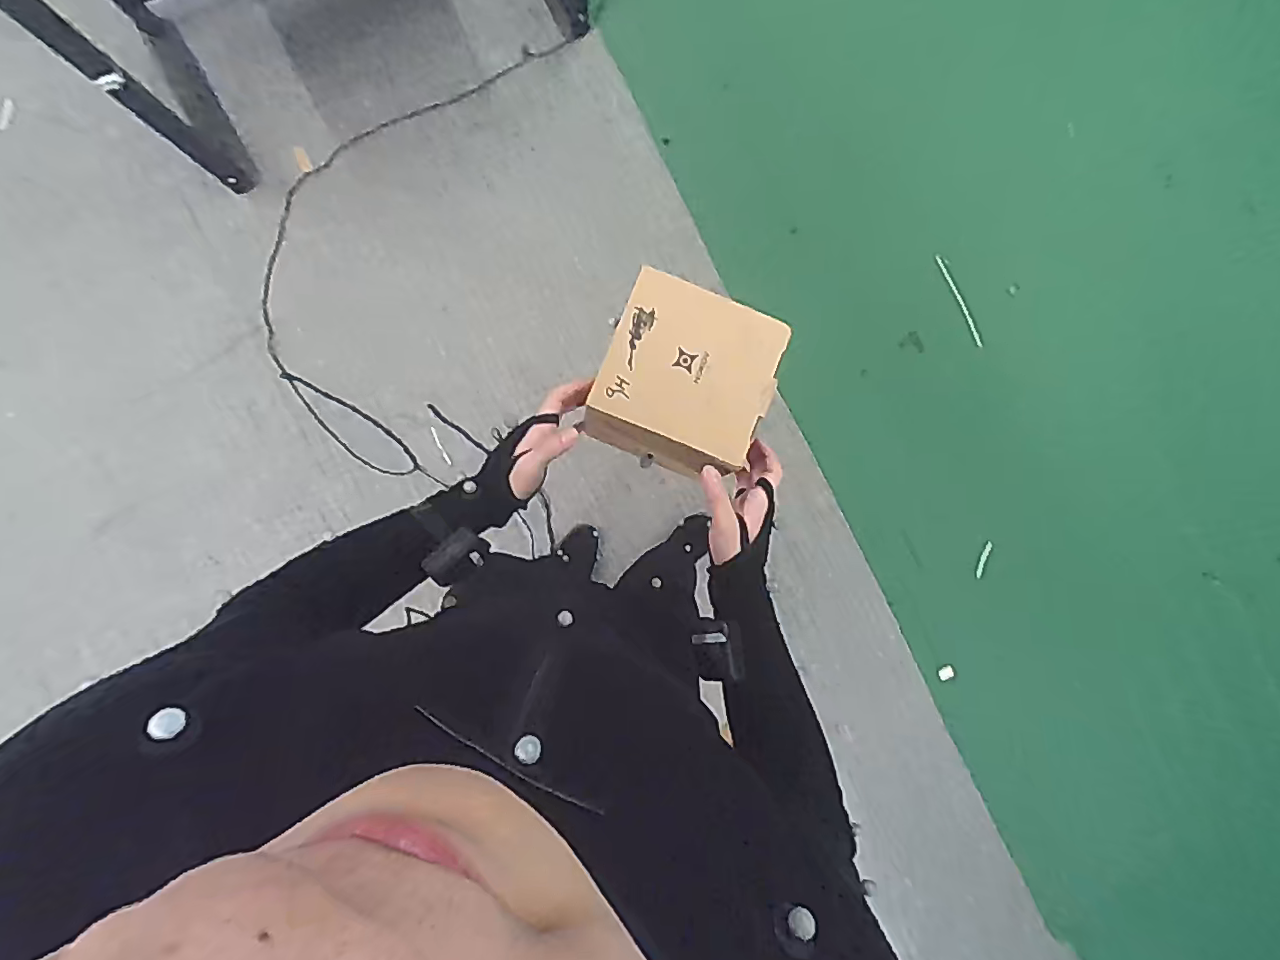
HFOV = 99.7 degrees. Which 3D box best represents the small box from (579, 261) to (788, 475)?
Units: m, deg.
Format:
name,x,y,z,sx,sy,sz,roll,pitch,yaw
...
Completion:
name,x,y,z,sx,sy,sz,roll,pitch,yaw
small box,0.039,-0.113,0.633,0.179,0.176,0.168,22,80,-5
